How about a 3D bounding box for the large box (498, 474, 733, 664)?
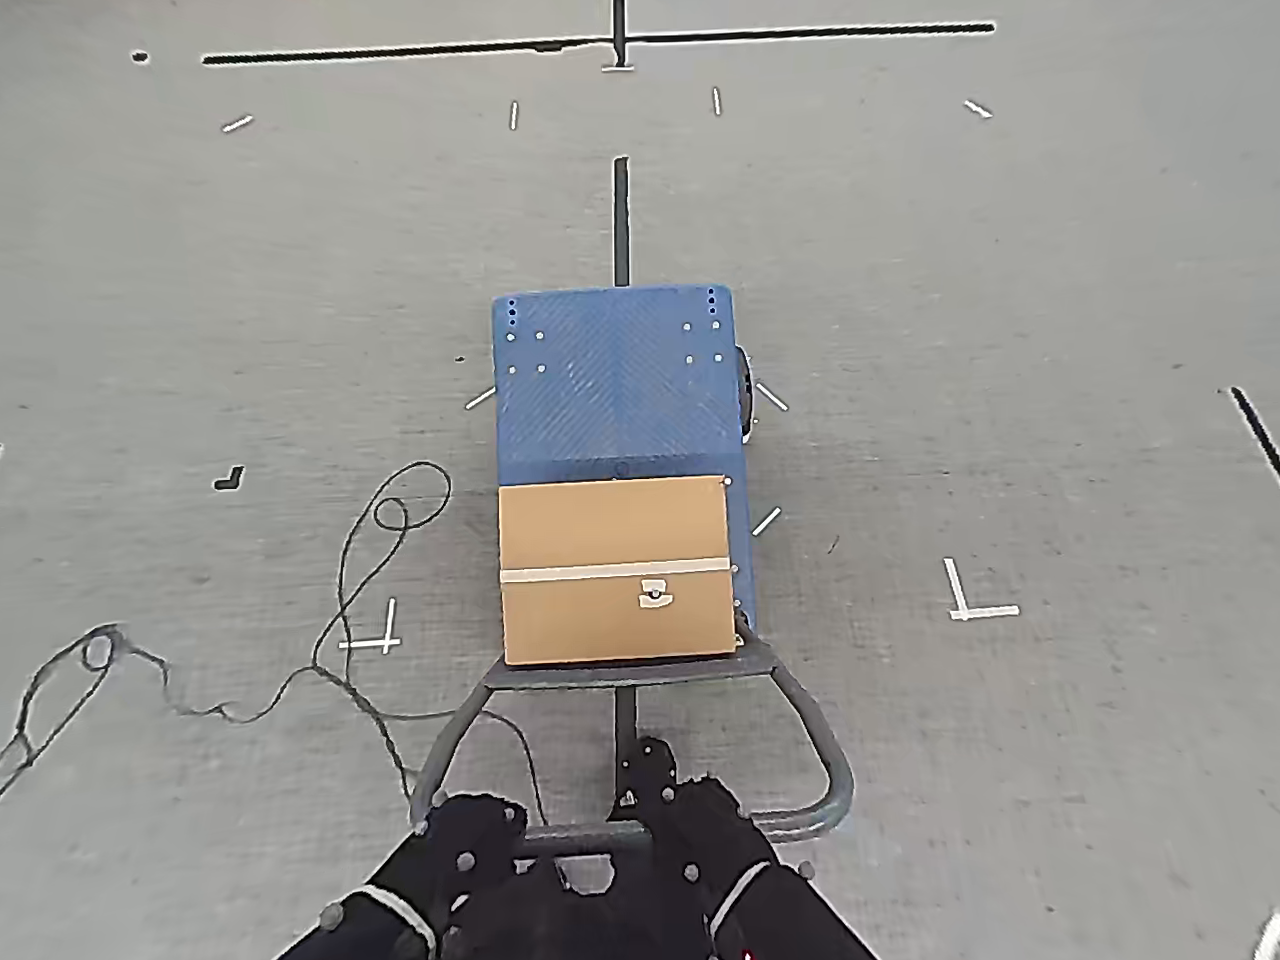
[{"bbox_3d":[-0.049,0.166,1.097,0.408,0.320,0.320,-3,87,-1],"label":"large box"}]
